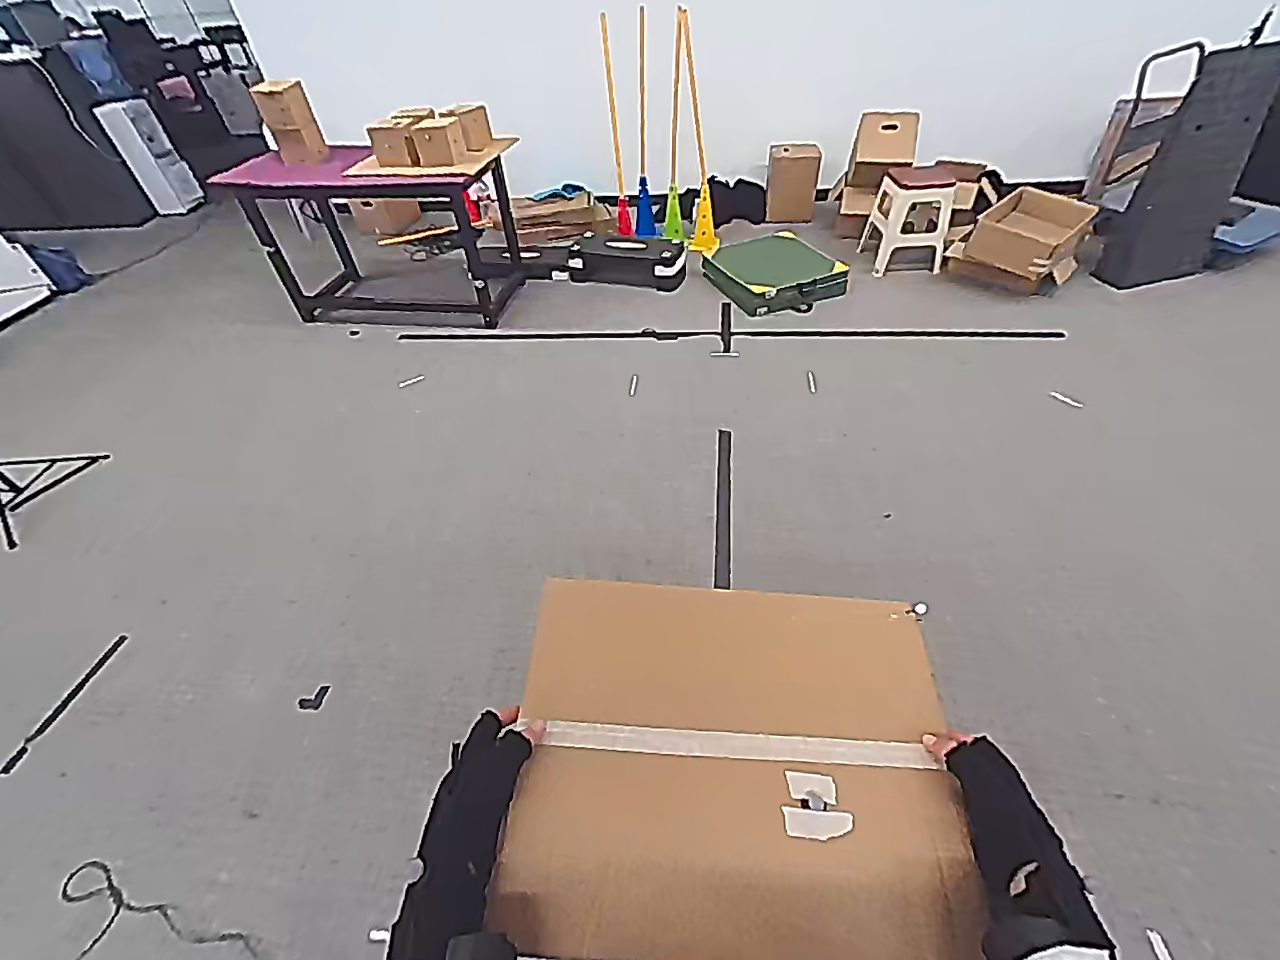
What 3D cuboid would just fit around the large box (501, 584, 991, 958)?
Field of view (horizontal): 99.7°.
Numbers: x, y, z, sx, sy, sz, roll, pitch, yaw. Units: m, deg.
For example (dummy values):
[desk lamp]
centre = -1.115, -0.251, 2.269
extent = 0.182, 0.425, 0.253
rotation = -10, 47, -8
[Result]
[large box]
centre = 0.084, 0.338, 0.637
extent = 0.408, 0.320, 0.320
rotation = 3, 54, 0
